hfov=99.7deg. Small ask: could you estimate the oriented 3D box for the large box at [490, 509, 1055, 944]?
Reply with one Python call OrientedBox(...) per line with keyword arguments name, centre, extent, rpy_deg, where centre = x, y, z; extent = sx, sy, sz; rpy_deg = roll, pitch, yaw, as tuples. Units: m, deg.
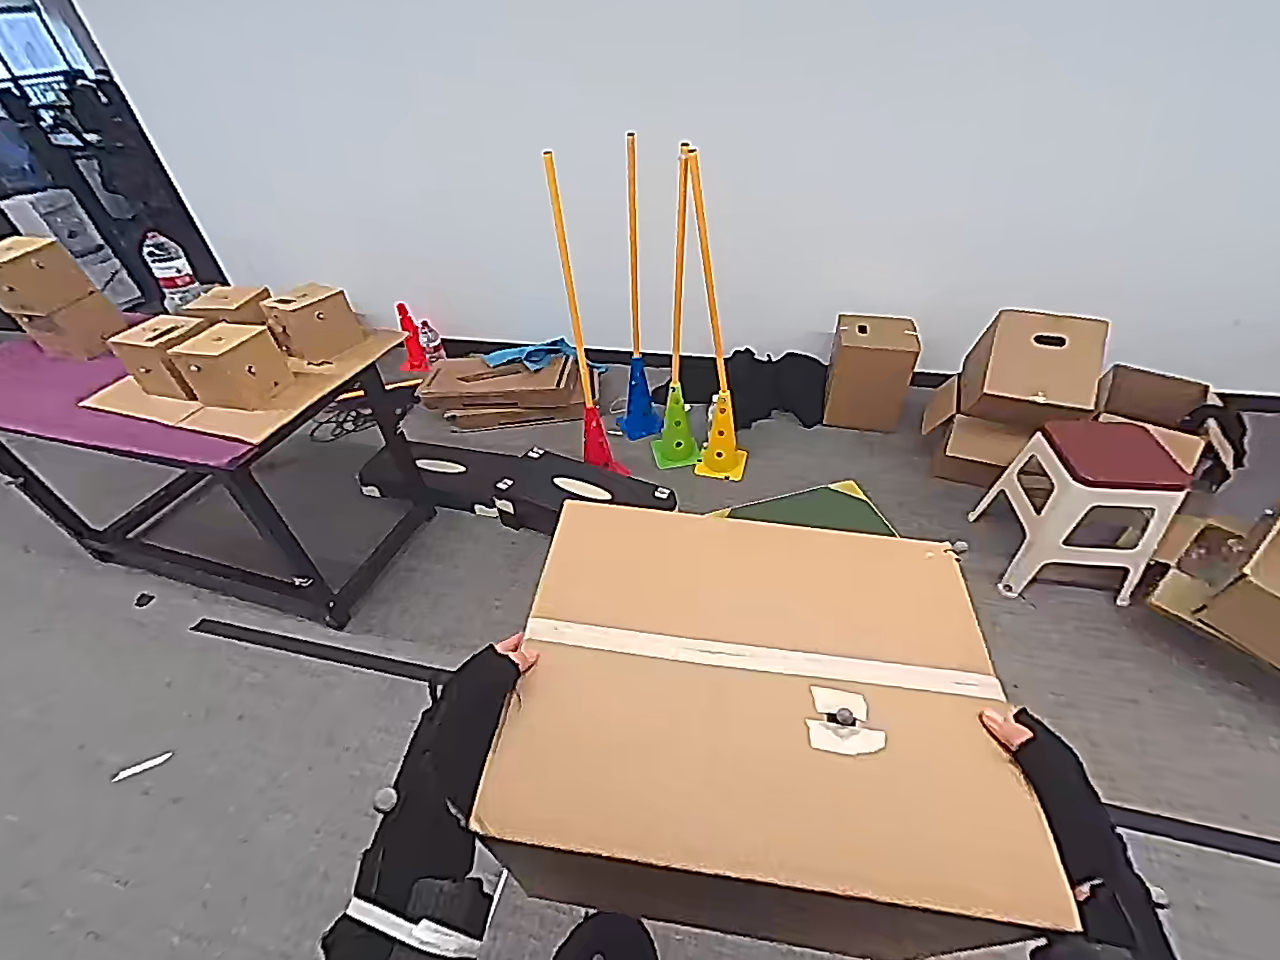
OrientedBox(name="large box", centre=(0.098, 0.262, 0.585), extent=(0.408, 0.320, 0.320), rpy_deg=(7, 47, 4))
